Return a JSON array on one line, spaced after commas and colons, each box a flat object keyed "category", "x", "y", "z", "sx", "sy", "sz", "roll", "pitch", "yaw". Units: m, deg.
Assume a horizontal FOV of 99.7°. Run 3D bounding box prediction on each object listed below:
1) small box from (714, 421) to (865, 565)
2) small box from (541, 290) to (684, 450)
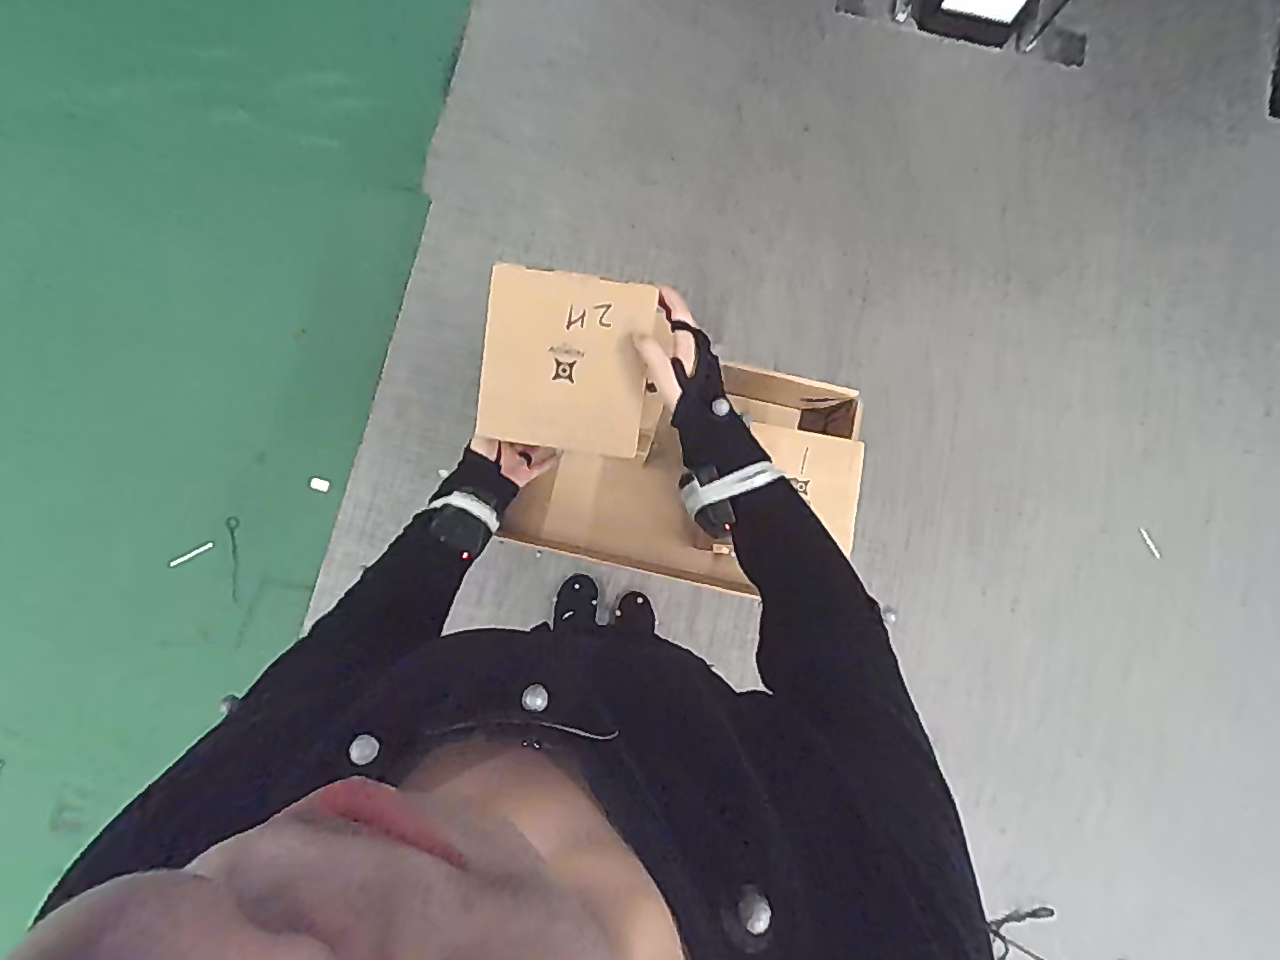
[{"category": "small box", "x": 0.215, "y": 0.025, "z": 0.823, "sx": 0.168, "sy": 0.176, "sz": 0.179, "roll": 11, "pitch": 83, "yaw": -2}, {"category": "small box", "x": -0.041, "y": -0.156, "z": 0.833, "sx": 0.168, "sy": 0.176, "sz": 0.179, "roll": 16, "pitch": 83, "yaw": -2}]
